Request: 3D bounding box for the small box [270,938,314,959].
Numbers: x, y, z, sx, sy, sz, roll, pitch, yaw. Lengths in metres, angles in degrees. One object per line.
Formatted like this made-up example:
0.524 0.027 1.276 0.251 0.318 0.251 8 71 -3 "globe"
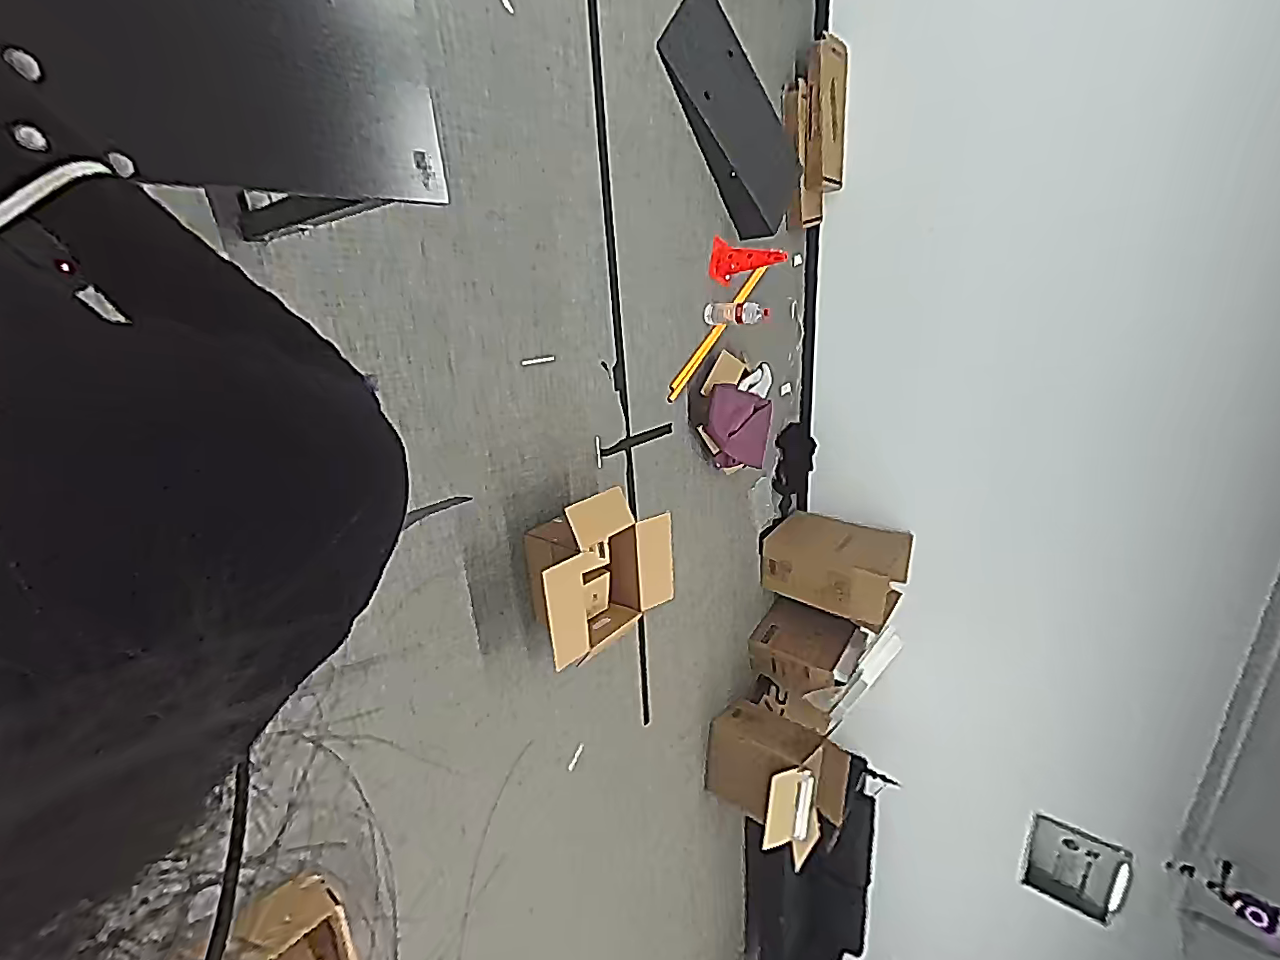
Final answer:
-0.966 1.414 1.464 0.179 0.176 0.168 -20 112 -47 "small box"
